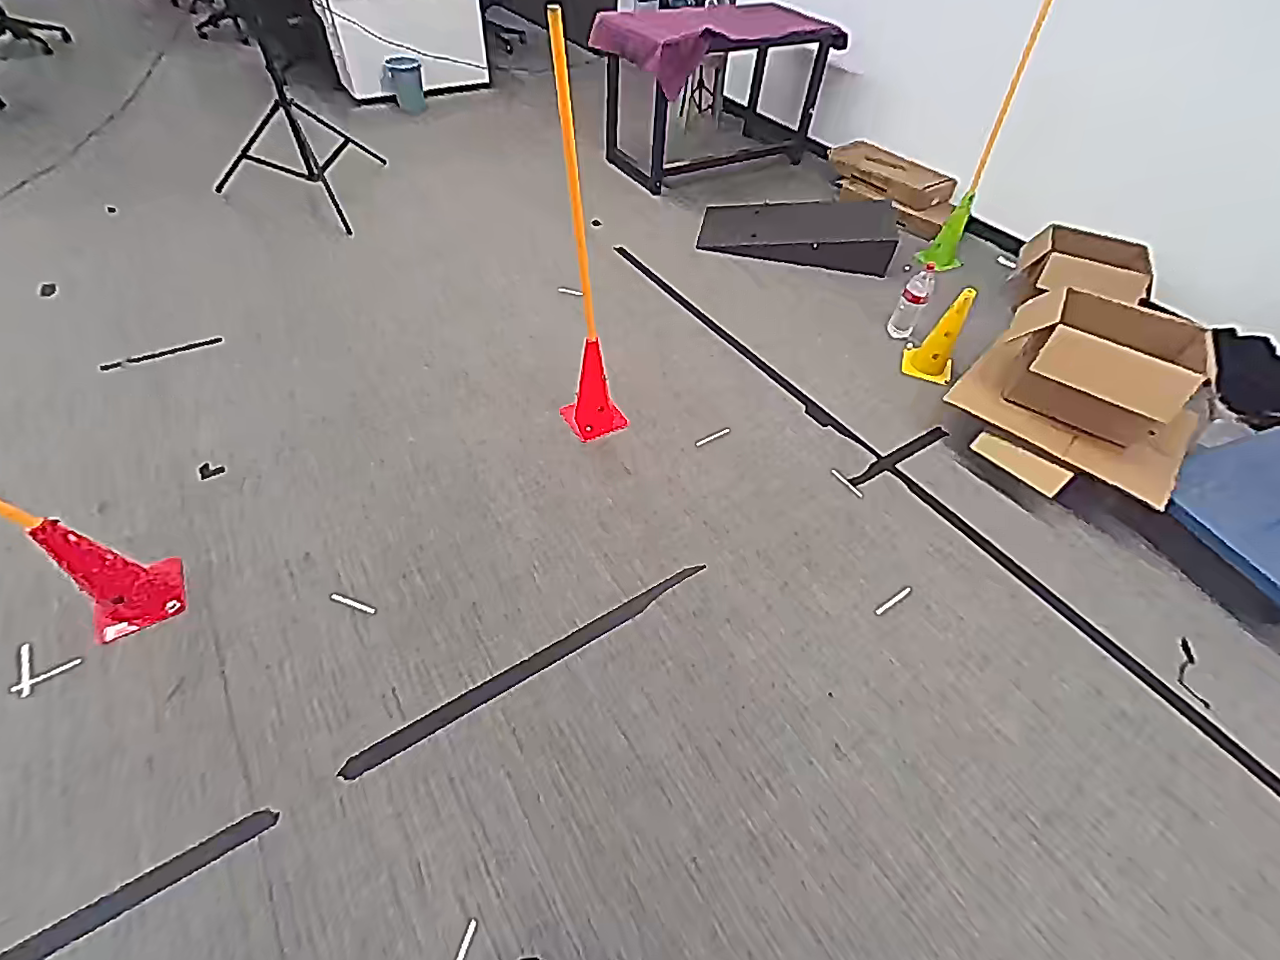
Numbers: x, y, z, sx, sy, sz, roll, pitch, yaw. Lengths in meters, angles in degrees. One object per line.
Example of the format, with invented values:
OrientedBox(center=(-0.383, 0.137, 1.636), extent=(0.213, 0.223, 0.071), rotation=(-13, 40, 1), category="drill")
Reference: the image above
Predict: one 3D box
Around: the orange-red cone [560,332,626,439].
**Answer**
OrientedBox(center=(-0.163, -0.349, 1.859), extent=(0.199, 0.360, 0.198), rotation=(-22, 56, -21), category="orange-red cone")
